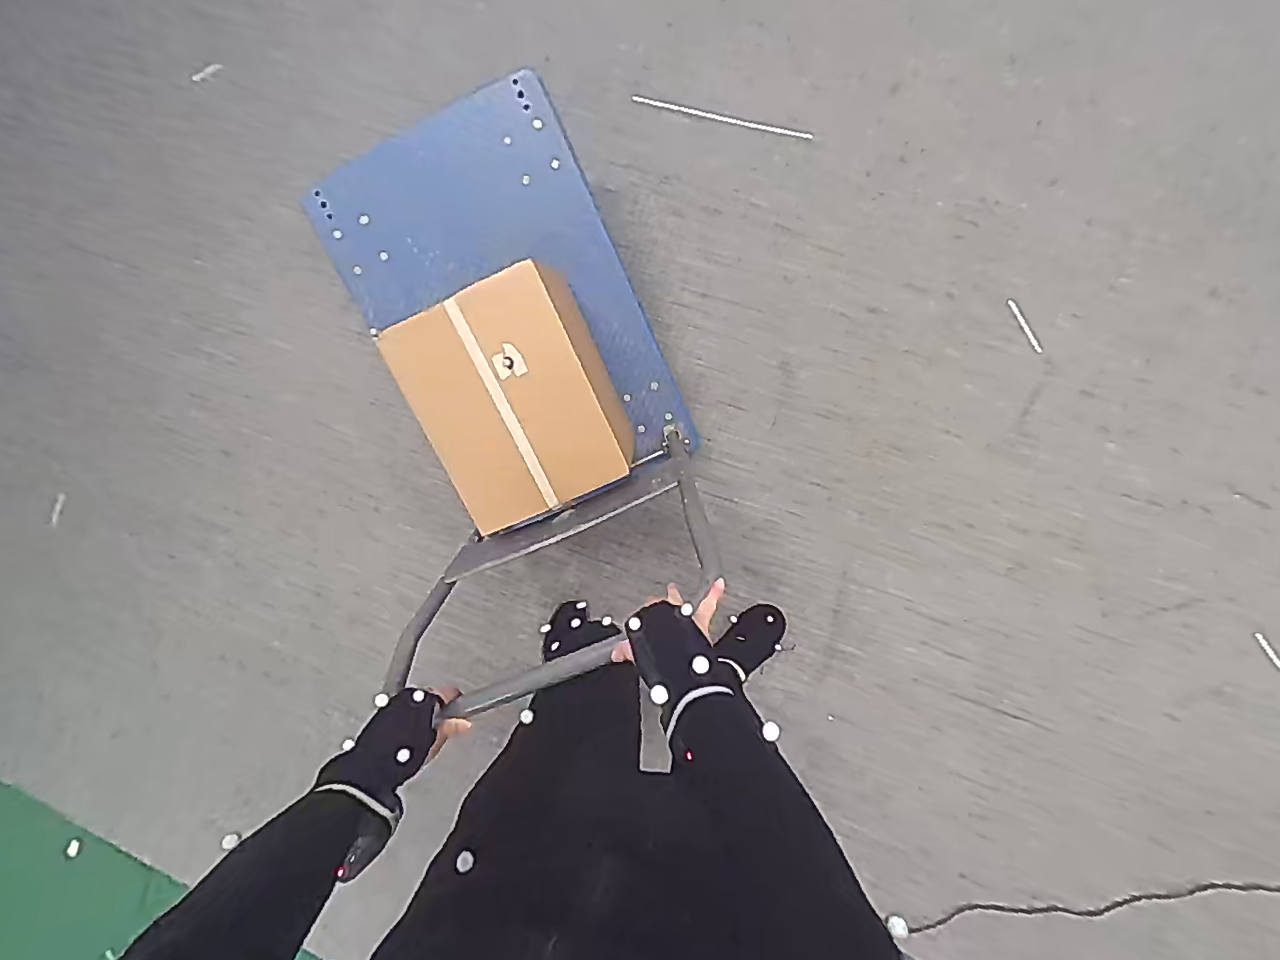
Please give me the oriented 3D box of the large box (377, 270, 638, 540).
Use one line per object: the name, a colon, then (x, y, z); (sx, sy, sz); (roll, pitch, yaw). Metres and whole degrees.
large box: (-0.231, -0.154, 1.106); (0.320, 0.320, 0.408); (-24, 102, 7)
